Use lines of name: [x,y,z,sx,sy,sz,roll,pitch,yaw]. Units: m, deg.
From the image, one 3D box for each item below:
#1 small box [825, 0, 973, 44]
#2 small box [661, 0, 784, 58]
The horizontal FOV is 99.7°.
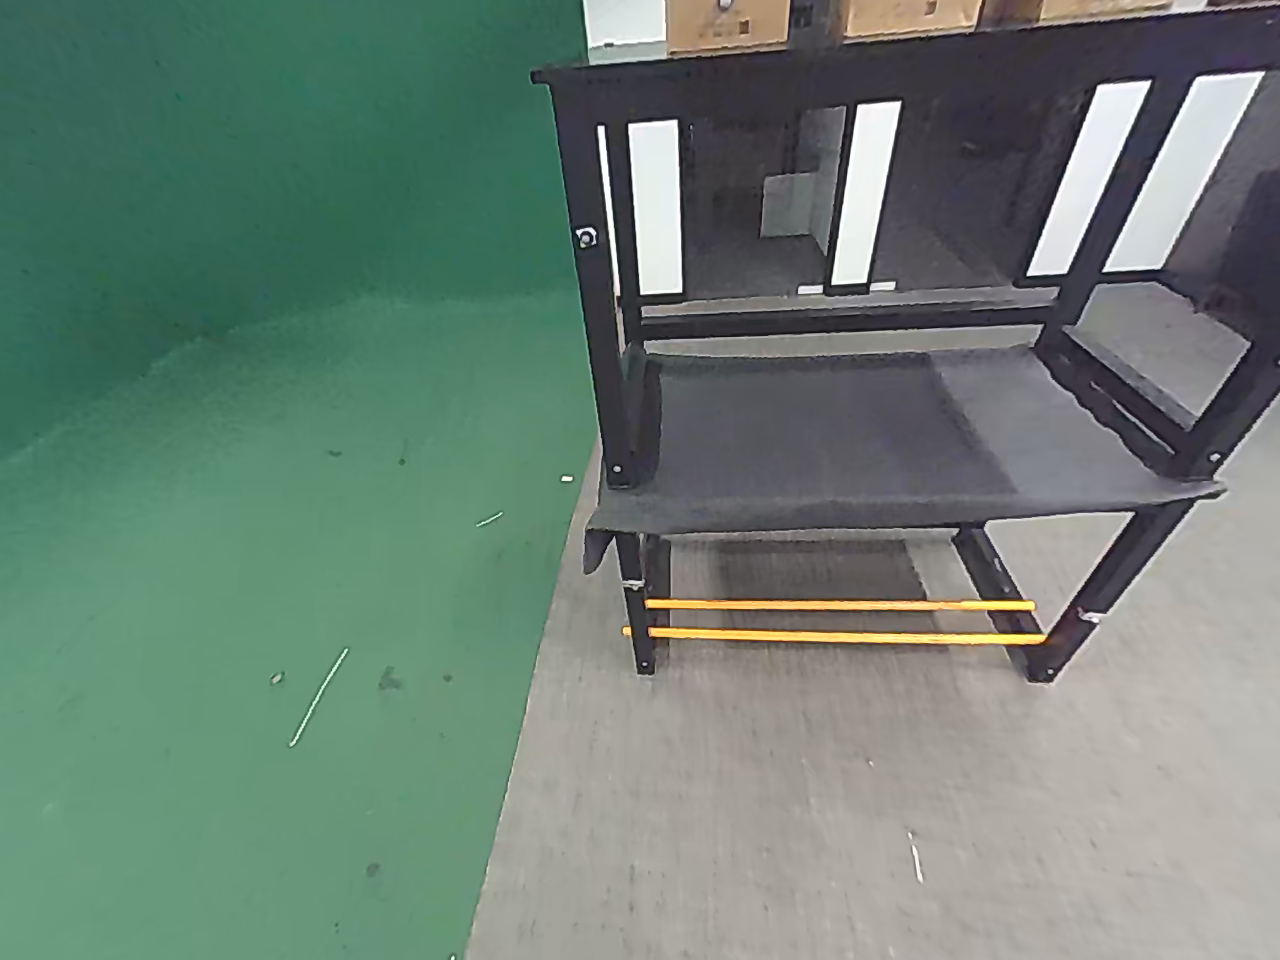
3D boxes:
small box: [0.354,-0.706,0.730,0.168,0.176,0.179,0,40,8]
small box: [0.113,-0.717,0.773,0.168,0.176,0.179,-3,41,4]
